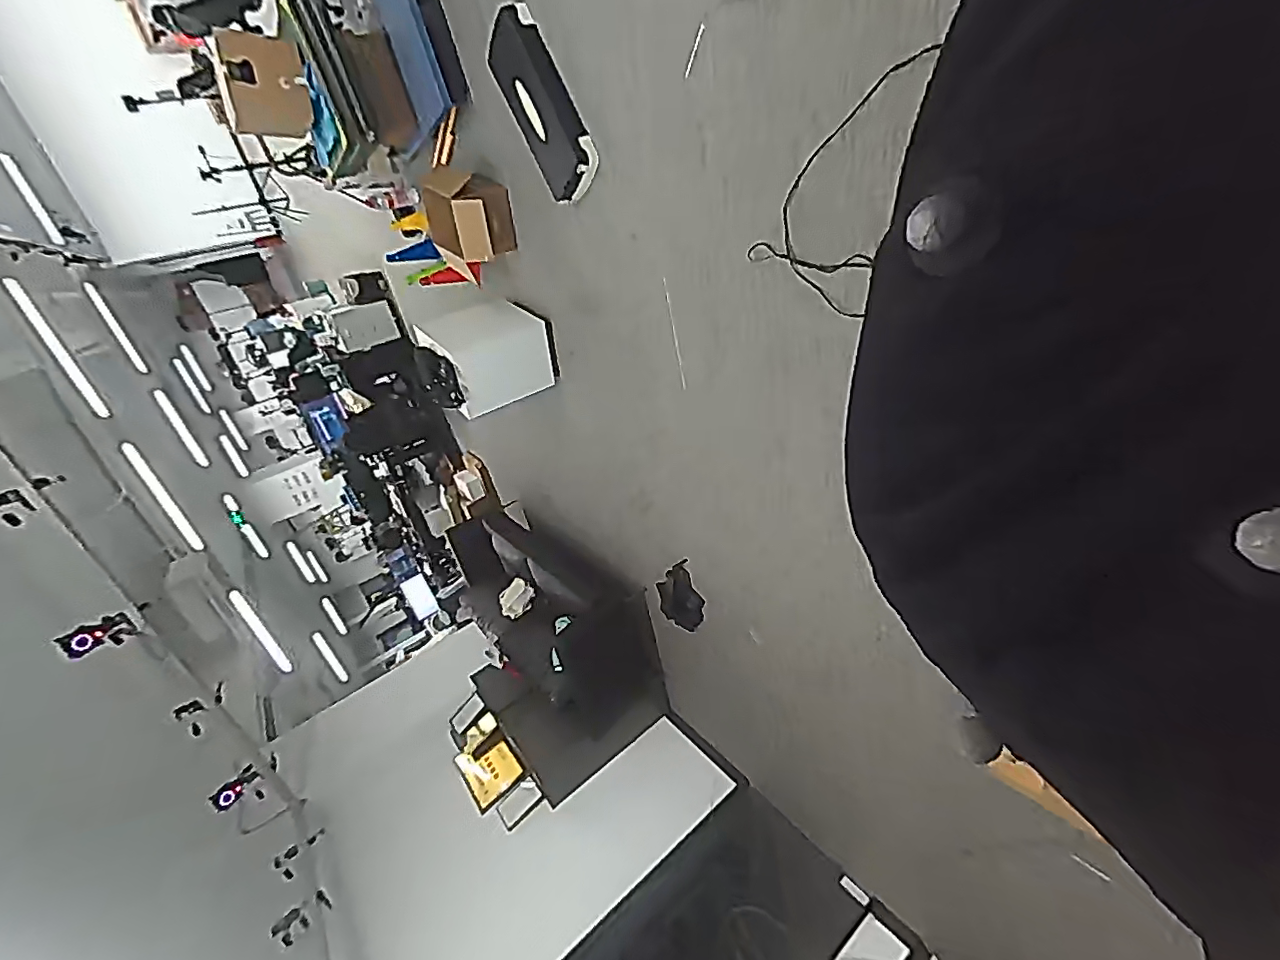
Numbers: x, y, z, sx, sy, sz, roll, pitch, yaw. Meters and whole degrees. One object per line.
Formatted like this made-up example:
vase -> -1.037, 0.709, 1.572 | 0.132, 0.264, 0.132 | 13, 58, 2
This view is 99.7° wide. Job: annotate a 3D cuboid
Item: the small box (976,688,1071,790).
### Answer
small box -> 1.125, 0.751, 1.589 | 0.179, 0.176, 0.168 | 25, 136, 50
